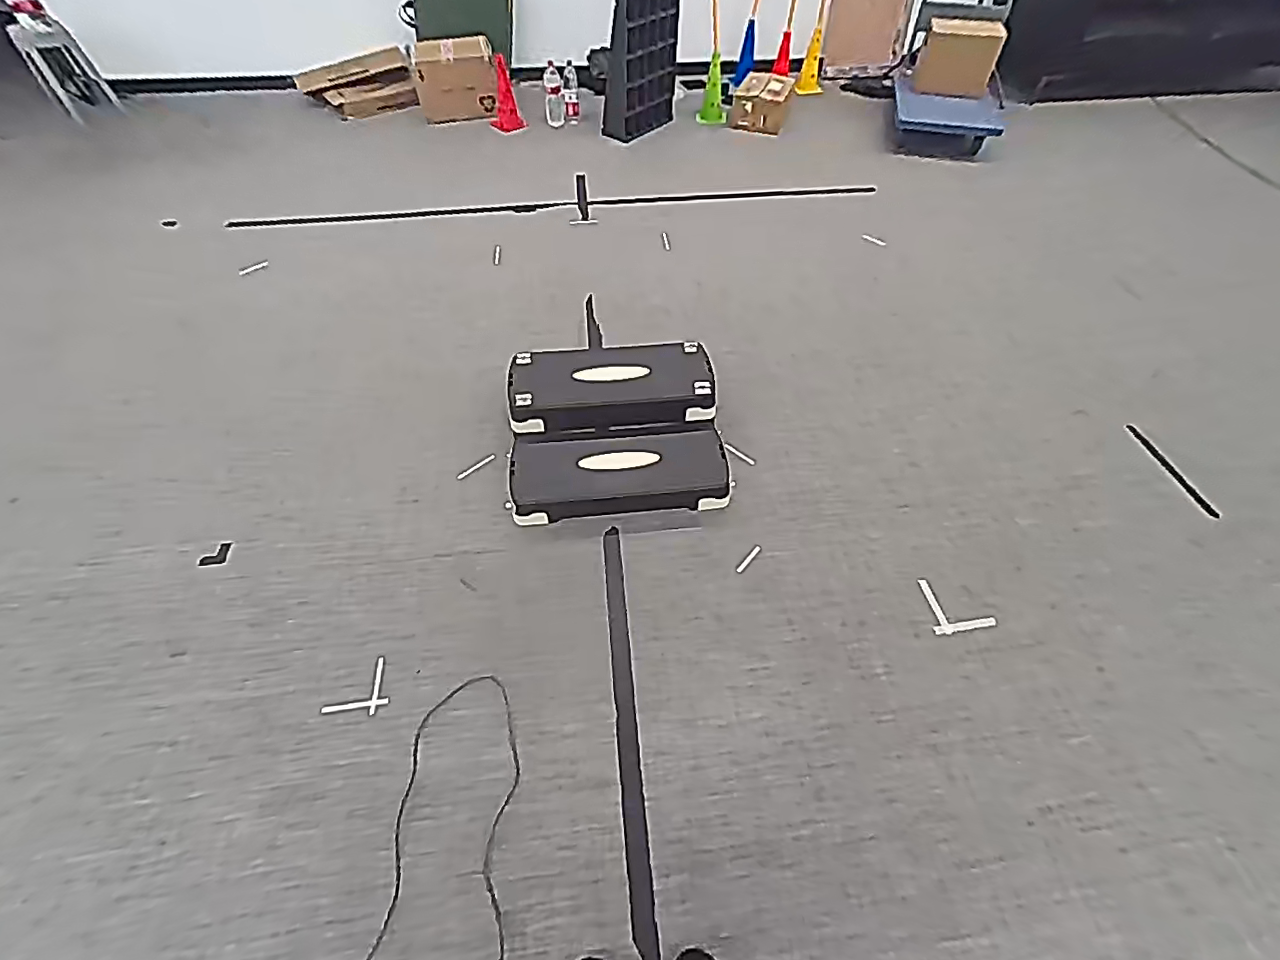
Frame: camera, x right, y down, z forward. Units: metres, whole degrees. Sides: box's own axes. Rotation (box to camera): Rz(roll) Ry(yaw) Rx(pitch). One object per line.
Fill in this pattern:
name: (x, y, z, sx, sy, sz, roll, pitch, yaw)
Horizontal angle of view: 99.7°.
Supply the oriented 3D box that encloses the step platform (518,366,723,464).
step platform: (-0.065, -0.229, 1.834, 0.684, 0.204, 0.286, -1, 51, -2)
